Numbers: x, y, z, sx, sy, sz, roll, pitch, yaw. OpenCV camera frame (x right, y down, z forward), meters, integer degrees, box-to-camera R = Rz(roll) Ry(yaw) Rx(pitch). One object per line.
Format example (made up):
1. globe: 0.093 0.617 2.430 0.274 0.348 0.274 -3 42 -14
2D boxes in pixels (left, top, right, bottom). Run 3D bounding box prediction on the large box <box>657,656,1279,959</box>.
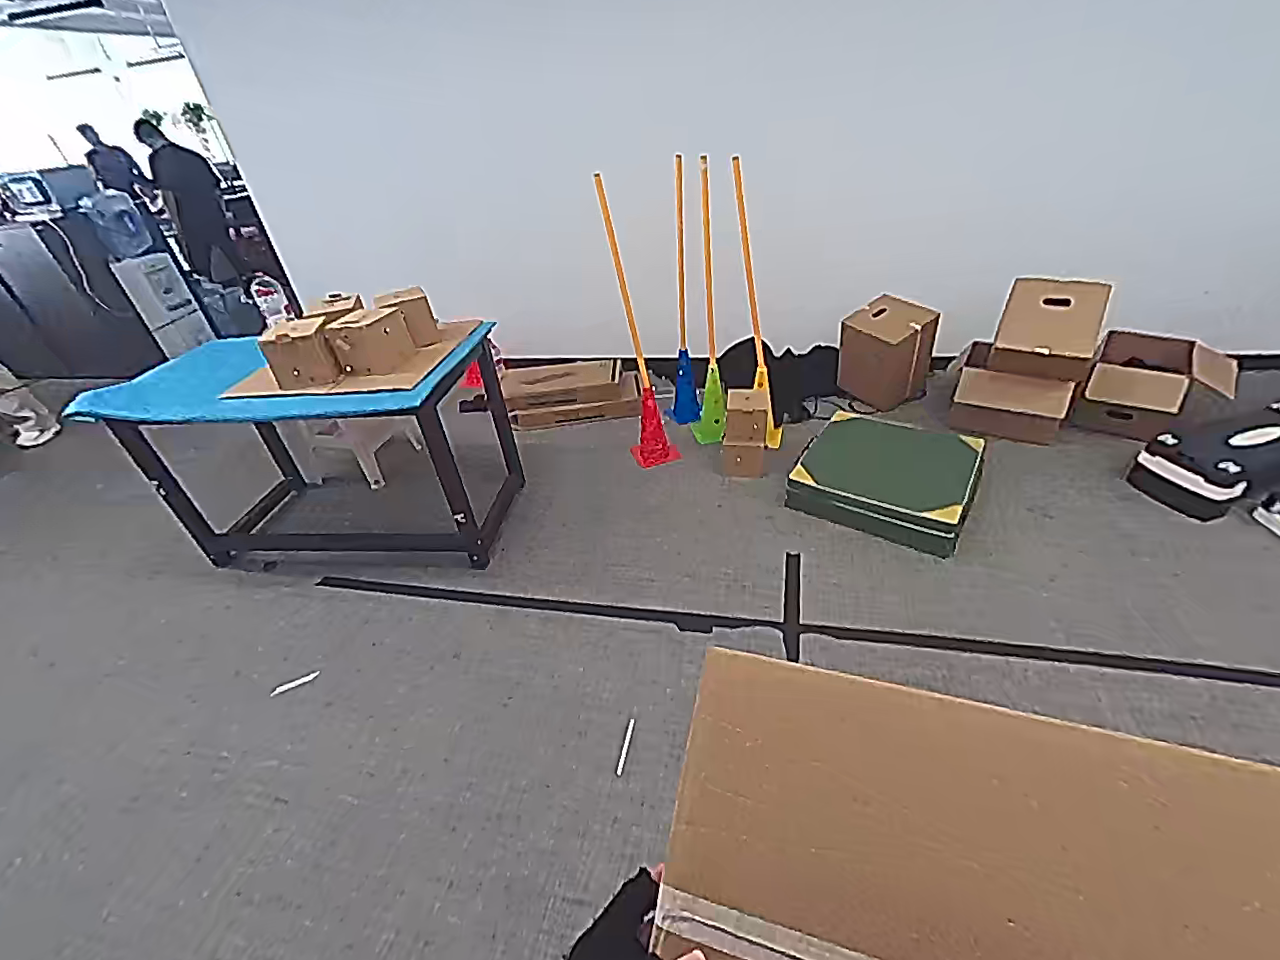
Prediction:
1. large box: 0.236 0.353 0.409 0.408 0.320 0.320 7 65 18
